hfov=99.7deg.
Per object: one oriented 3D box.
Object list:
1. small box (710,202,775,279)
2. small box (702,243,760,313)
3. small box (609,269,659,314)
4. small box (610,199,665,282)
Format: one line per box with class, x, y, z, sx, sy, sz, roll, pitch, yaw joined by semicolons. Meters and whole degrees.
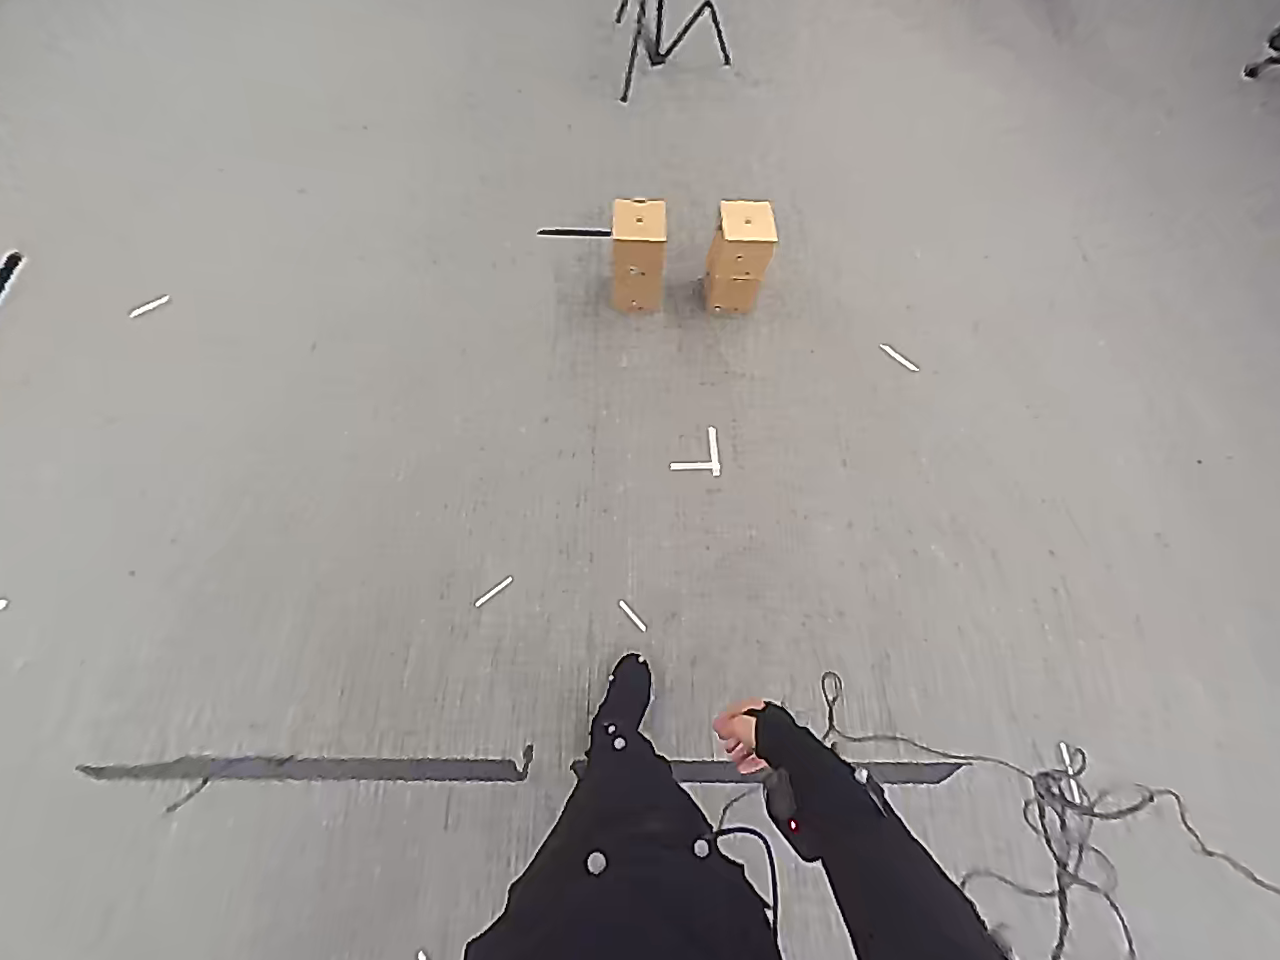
small box;0.330;-0.779;1.769;0.168;0.176;0.179;-1;65;-4
small box;0.317;-0.713;1.917;0.168;0.176;0.179;-2;66;-5
small box;-0.022;-0.709;1.893;0.168;0.176;0.179;1;67;-3
small box;-0.011;-0.769;1.741;0.168;0.176;0.179;1;66;-2
